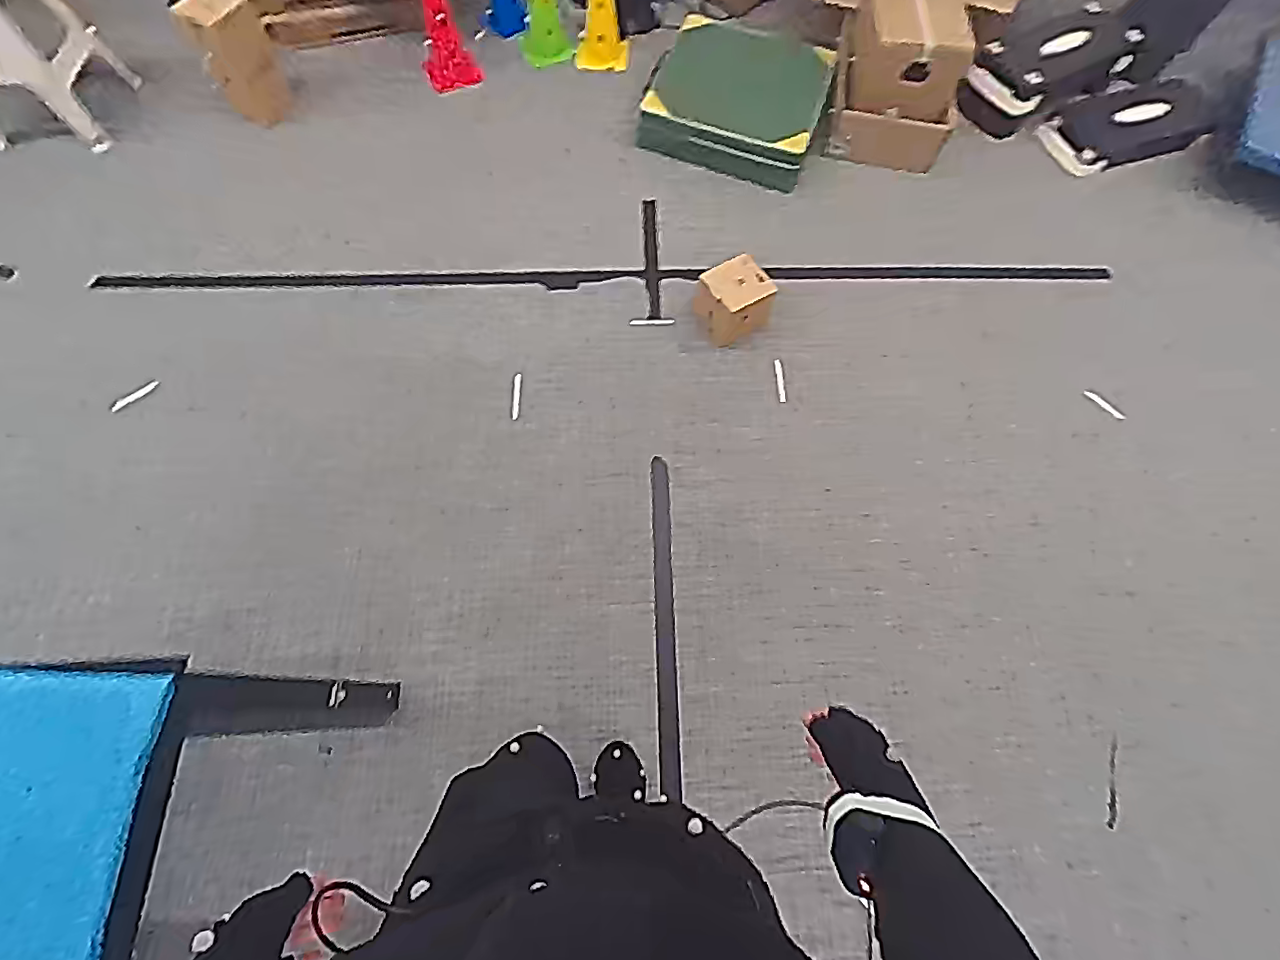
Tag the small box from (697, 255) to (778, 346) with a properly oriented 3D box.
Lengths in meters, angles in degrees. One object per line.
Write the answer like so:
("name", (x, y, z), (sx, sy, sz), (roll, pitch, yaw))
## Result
("small box", (0.291, -0.548, 1.669), (0.179, 0.176, 0.168), (-32, 72, -15))
